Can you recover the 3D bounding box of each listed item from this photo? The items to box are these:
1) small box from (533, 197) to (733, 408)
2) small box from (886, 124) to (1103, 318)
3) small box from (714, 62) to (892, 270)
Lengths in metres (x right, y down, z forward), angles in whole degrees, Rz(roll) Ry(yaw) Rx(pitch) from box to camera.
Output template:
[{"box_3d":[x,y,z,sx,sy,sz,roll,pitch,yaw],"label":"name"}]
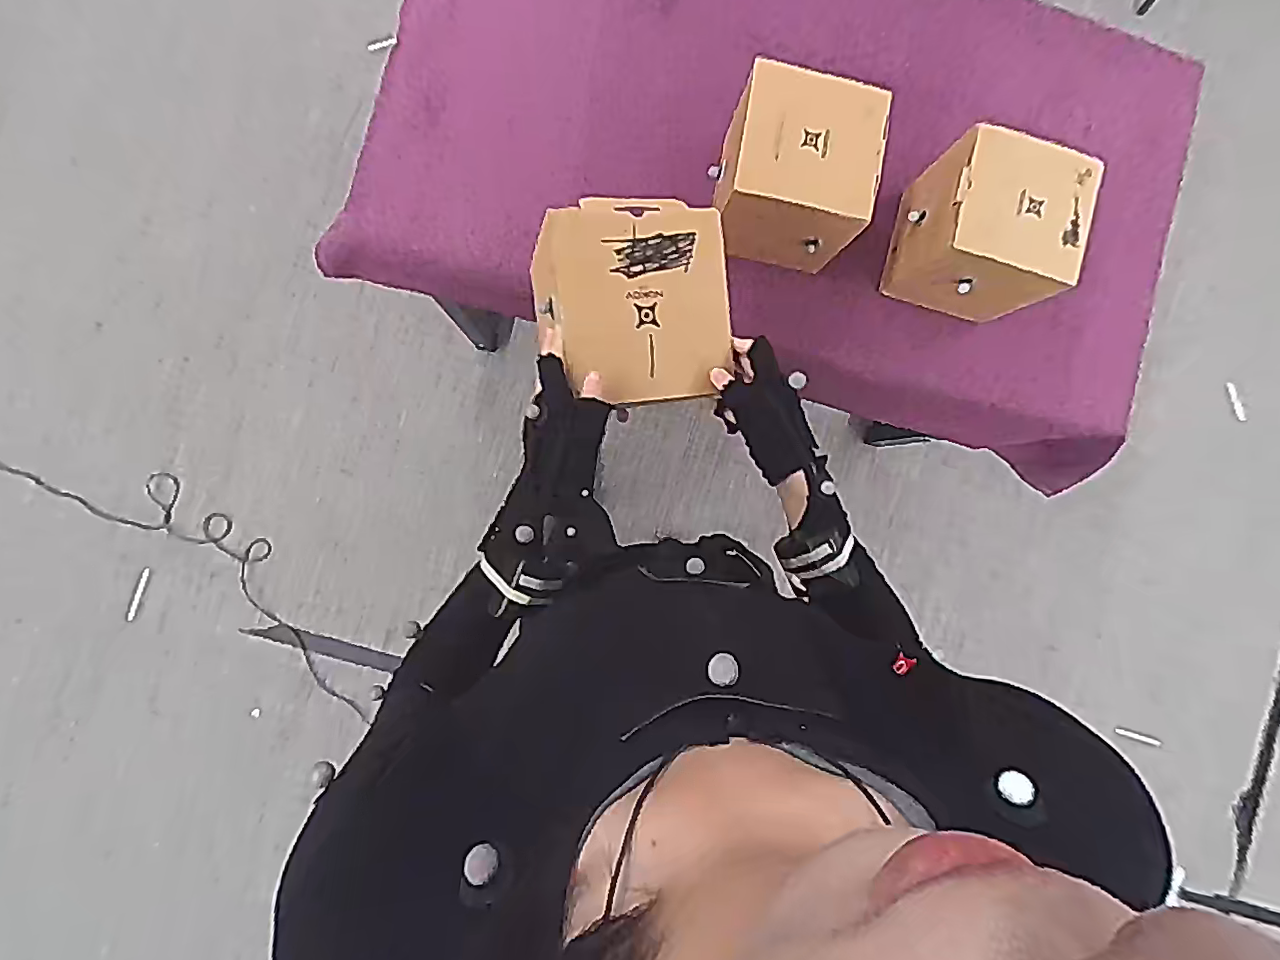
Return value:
[{"box_3d":[-0.017,-0.175,0.576,0.168,0.176,0.179,-8,97,-15],"label":"small box"},{"box_3d":[0.475,-0.342,0.751,0.179,0.176,0.168,13,88,-4],"label":"small box"},{"box_3d":[0.203,-0.403,0.728,0.179,0.176,0.168,9,87,-4],"label":"small box"}]
